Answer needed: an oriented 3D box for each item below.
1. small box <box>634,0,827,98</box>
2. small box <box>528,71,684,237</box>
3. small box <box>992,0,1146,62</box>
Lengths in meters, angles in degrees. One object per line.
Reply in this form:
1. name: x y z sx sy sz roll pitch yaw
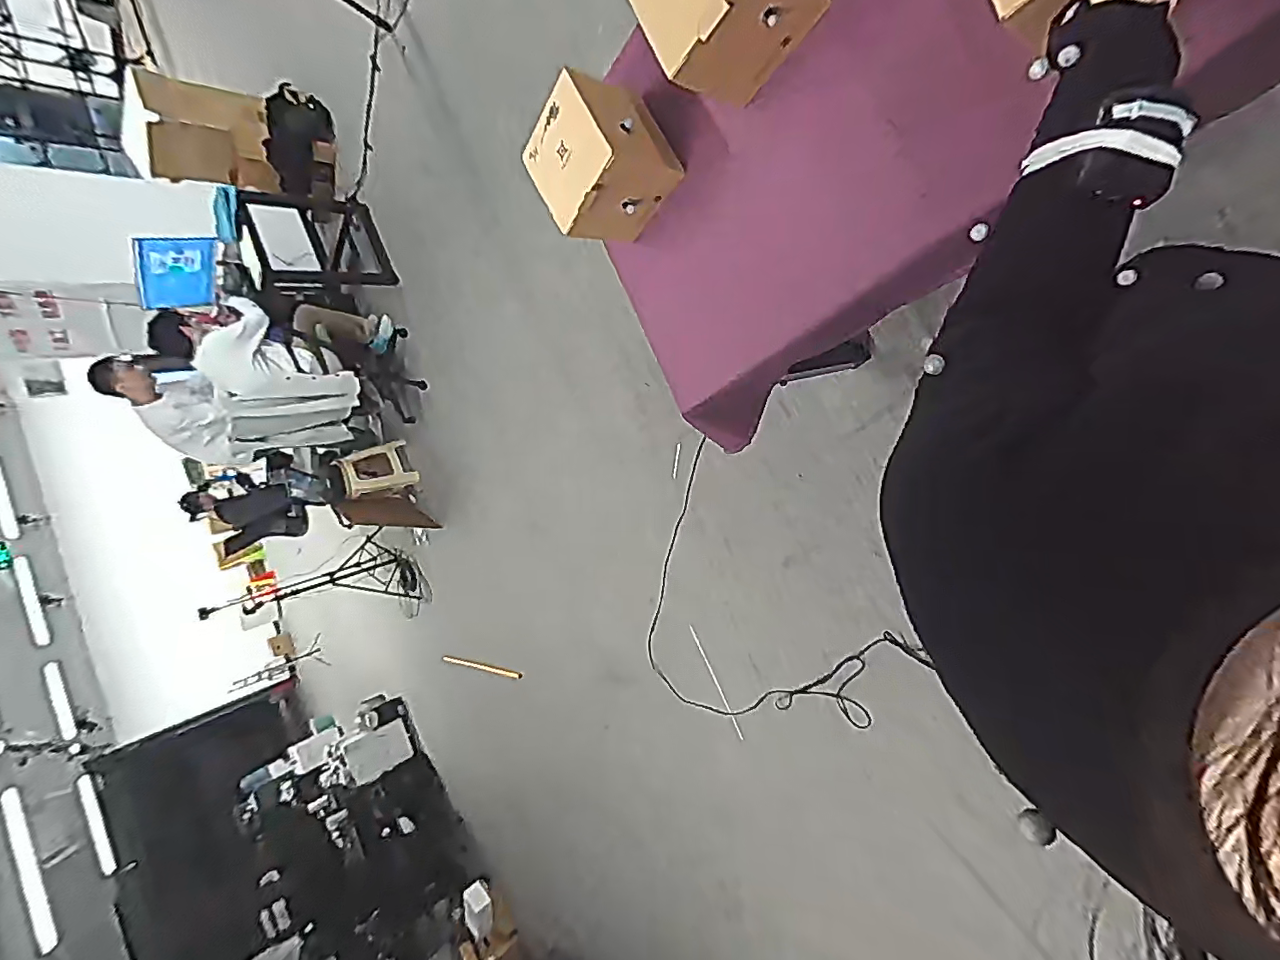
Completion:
1. small box: 0.115 -0.647 0.713 0.168 0.176 0.179 -30 81 46
2. small box: -0.056 -0.541 0.925 0.168 0.176 0.179 -37 77 45
3. small box: 0.390 -0.516 0.465 0.168 0.176 0.179 -23 86 48
